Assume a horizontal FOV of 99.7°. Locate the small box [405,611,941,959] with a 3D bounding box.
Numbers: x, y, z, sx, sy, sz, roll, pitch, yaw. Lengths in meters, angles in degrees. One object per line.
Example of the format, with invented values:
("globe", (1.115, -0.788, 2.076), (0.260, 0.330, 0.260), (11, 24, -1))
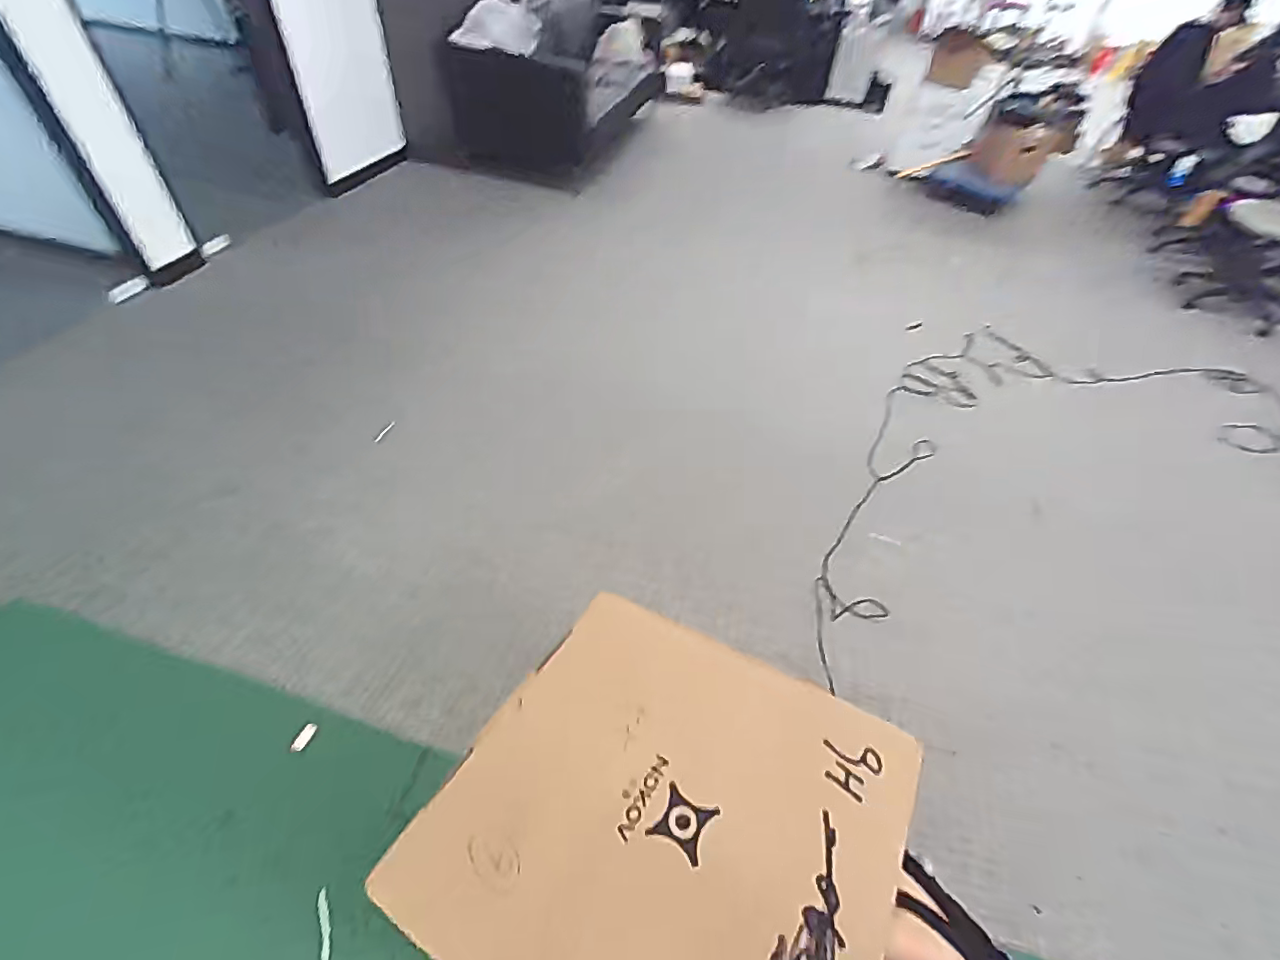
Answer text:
("small box", (0.023, 0.207, 0.276), (0.179, 0.176, 0.168), (19, 44, 25))
